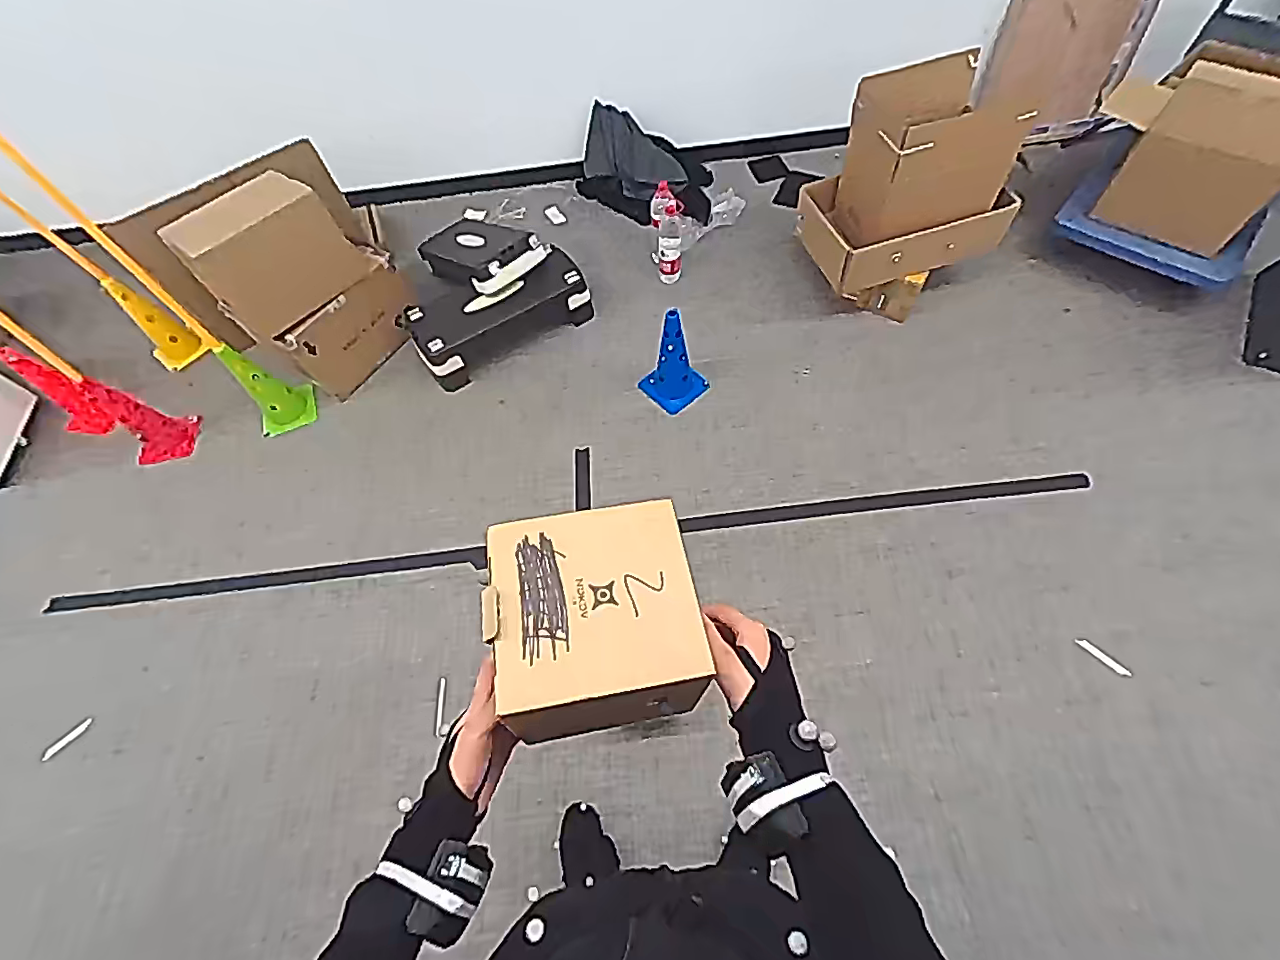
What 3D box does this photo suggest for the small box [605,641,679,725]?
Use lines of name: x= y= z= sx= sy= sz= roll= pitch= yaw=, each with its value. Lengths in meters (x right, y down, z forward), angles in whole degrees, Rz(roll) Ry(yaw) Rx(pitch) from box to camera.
small box: x=0.009 y=0.538 z=1.419 sx=0.168 sy=0.176 sz=0.179 roll=-9 pitch=61 yaw=-1
